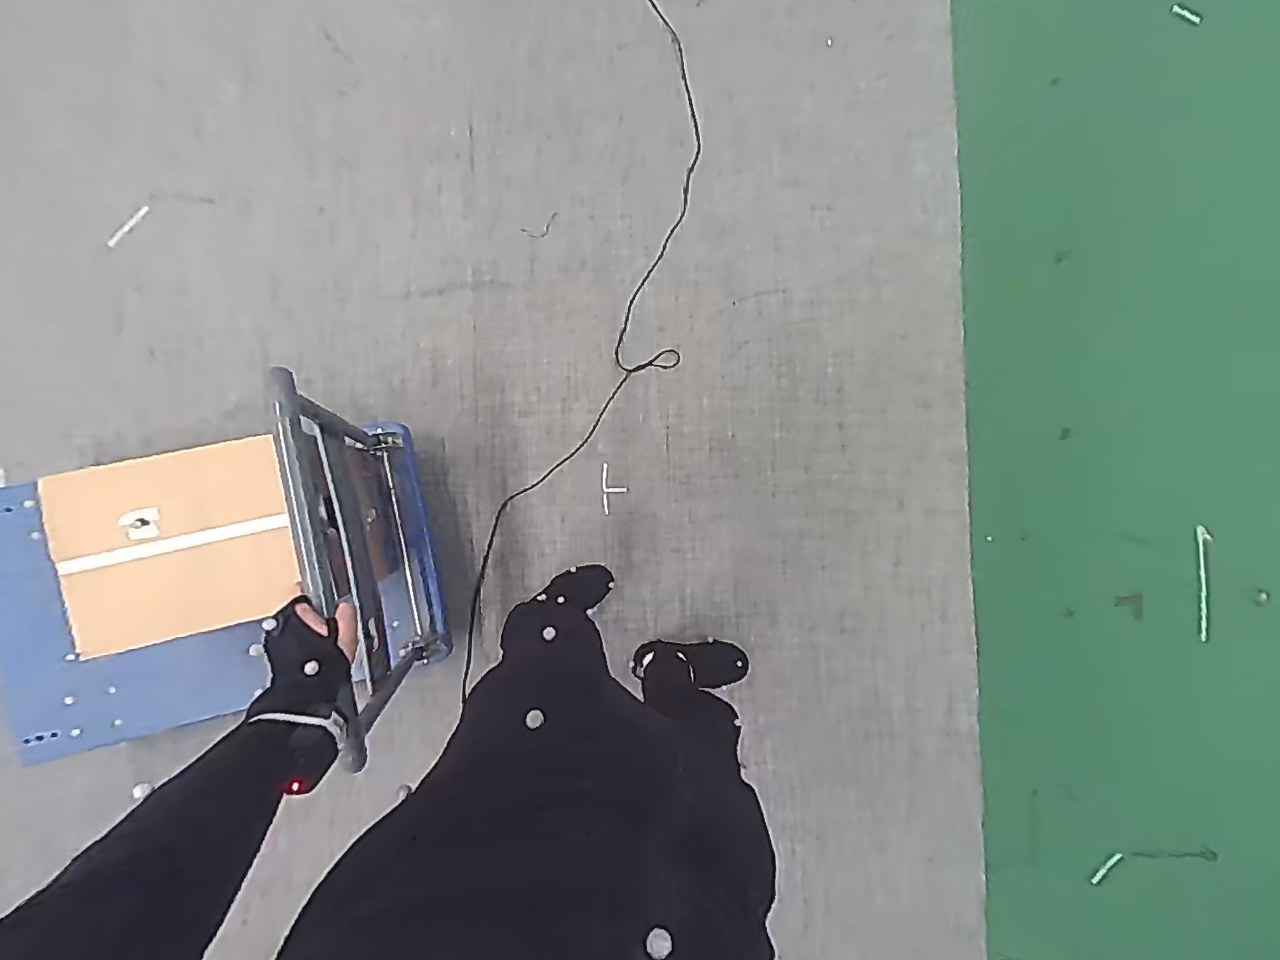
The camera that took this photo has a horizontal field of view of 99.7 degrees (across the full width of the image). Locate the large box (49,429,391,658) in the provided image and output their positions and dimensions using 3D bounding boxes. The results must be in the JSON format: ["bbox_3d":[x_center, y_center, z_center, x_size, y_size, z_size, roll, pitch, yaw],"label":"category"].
[{"bbox_3d":[-0.770,0.106,1.065,0.408,0.320,0.320,-12,89,-9],"label":"large box"}]
